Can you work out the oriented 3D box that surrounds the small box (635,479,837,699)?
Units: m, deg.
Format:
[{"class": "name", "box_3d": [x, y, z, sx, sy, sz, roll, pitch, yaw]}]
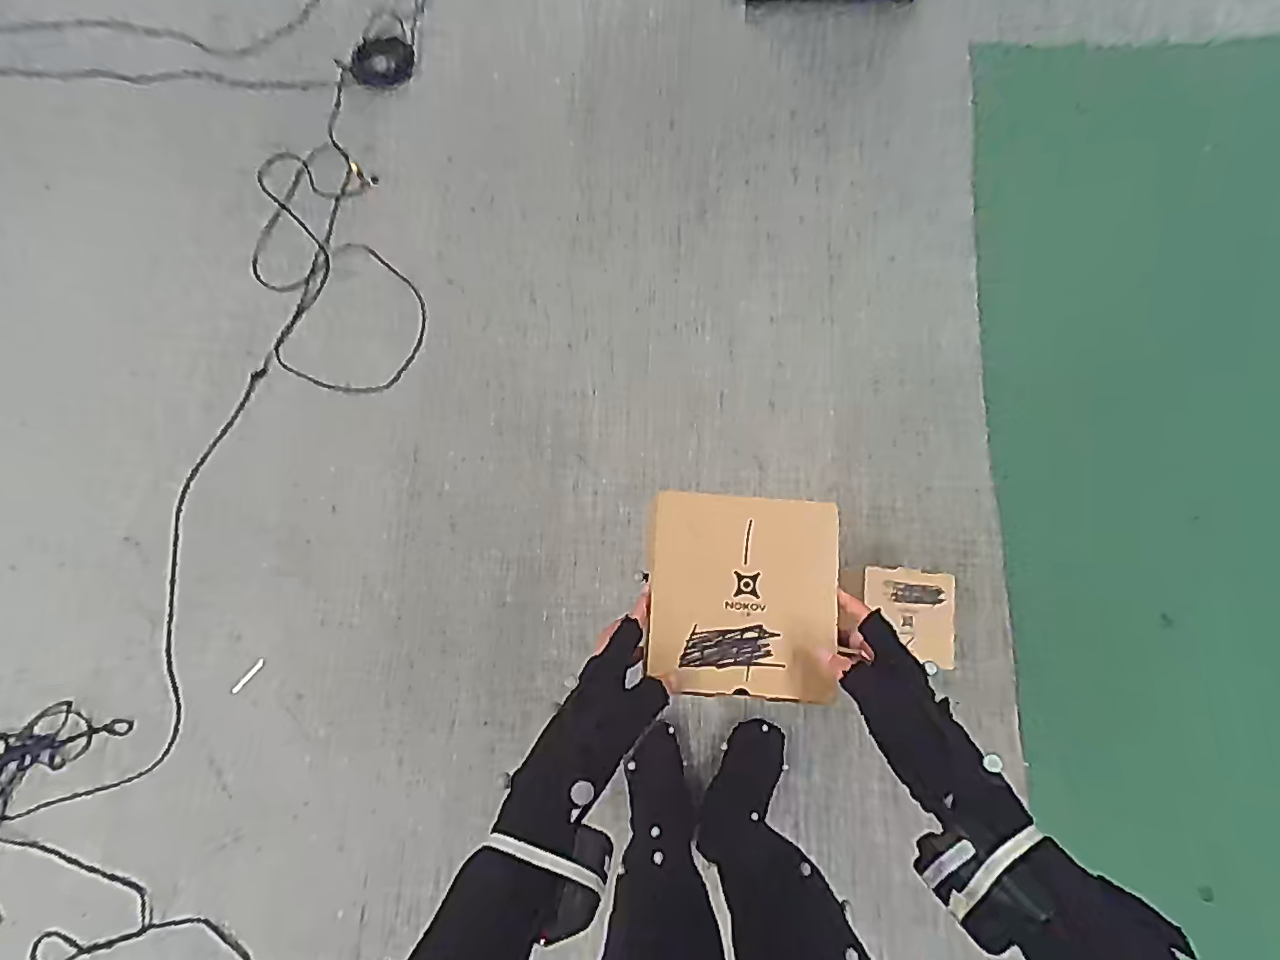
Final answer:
[{"class": "small box", "box_3d": [0.083, 0.101, 0.539, 0.168, 0.176, 0.179, 4, 82, -1]}]
